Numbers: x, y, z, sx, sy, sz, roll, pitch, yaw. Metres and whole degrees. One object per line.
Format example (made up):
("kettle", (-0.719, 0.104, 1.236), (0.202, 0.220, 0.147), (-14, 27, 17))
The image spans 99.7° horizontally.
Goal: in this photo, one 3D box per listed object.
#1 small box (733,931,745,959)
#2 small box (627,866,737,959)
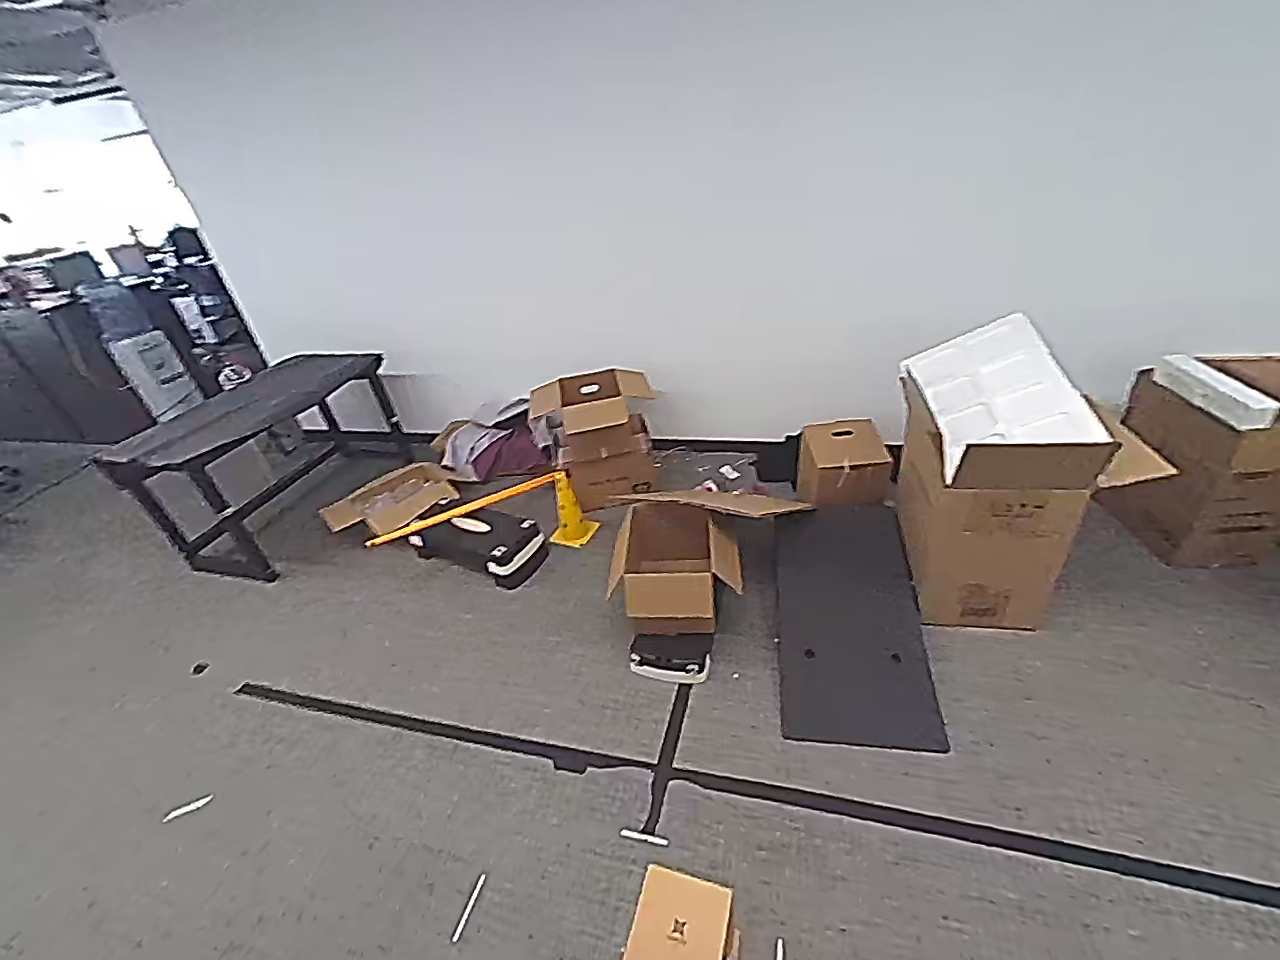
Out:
("small box", (0.110, 1.002, 1.072), (0.179, 0.176, 0.168), (4, 35, 17))
("small box", (0.082, 0.863, 0.992), (0.168, 0.176, 0.179), (5, 36, 19))
